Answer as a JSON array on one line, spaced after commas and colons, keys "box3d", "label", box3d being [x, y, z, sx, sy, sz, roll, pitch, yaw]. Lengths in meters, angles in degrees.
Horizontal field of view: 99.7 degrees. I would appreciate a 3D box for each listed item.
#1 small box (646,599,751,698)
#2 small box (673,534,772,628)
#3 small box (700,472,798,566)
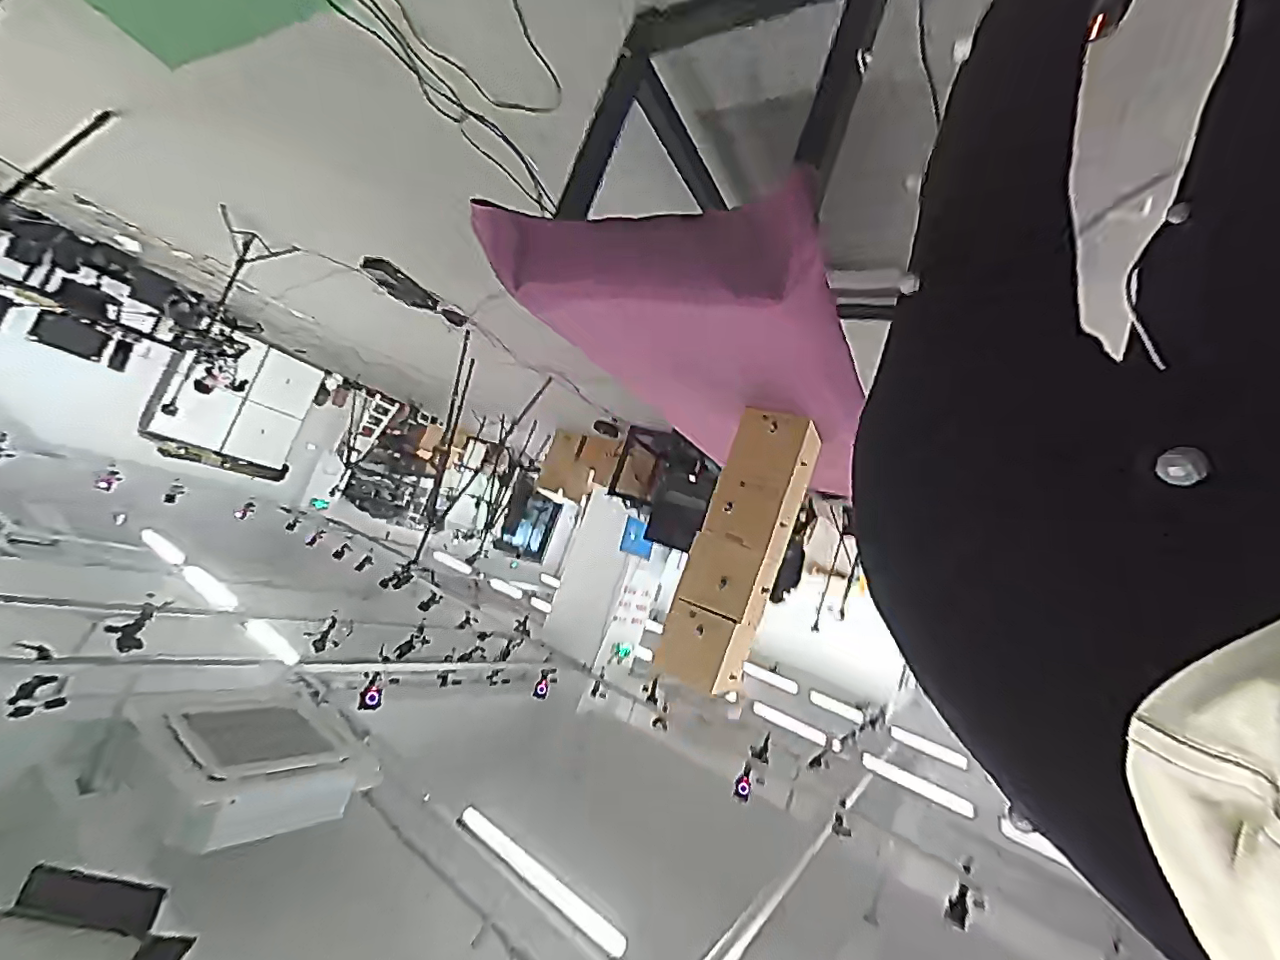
[{"box3d": [0.145, 0.393, 1.278, 0.168, 0.176, 0.179, 17, 170, 31], "label": "small box"}, {"box3d": [0.207, 0.242, 1.299, 0.179, 0.176, 0.168, 17, 170, 29], "label": "small box"}, {"box3d": [0.271, 0.093, 1.318, 0.168, 0.176, 0.179, 17, 171, 29], "label": "small box"}]
